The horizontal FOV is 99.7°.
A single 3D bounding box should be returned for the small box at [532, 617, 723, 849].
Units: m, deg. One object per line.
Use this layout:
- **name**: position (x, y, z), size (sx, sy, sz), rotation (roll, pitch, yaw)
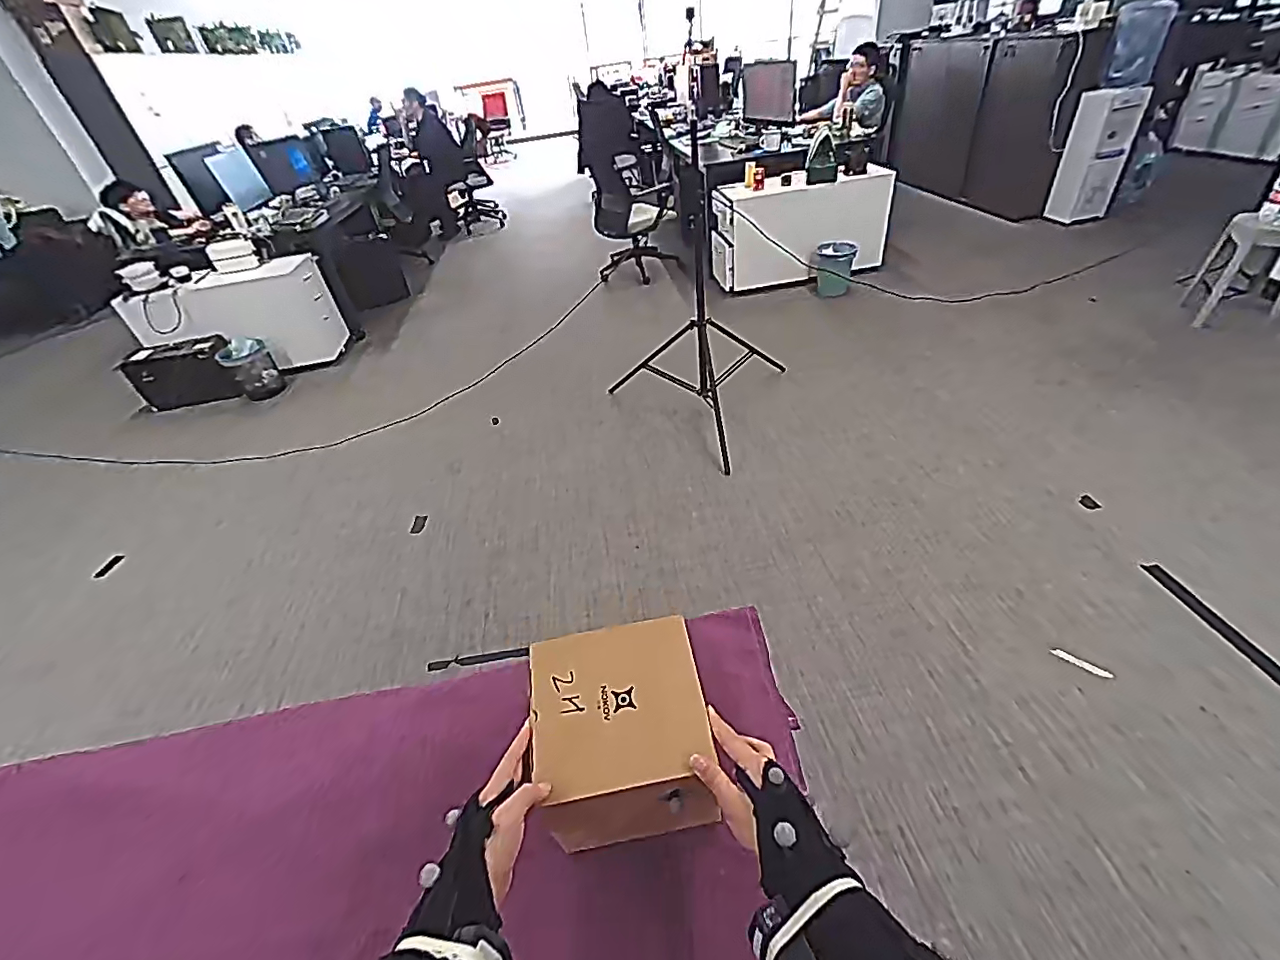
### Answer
- **small box**: position (-0.014, 0.278, 0.594), size (0.179, 0.176, 0.168), rotation (-11, 43, -2)
